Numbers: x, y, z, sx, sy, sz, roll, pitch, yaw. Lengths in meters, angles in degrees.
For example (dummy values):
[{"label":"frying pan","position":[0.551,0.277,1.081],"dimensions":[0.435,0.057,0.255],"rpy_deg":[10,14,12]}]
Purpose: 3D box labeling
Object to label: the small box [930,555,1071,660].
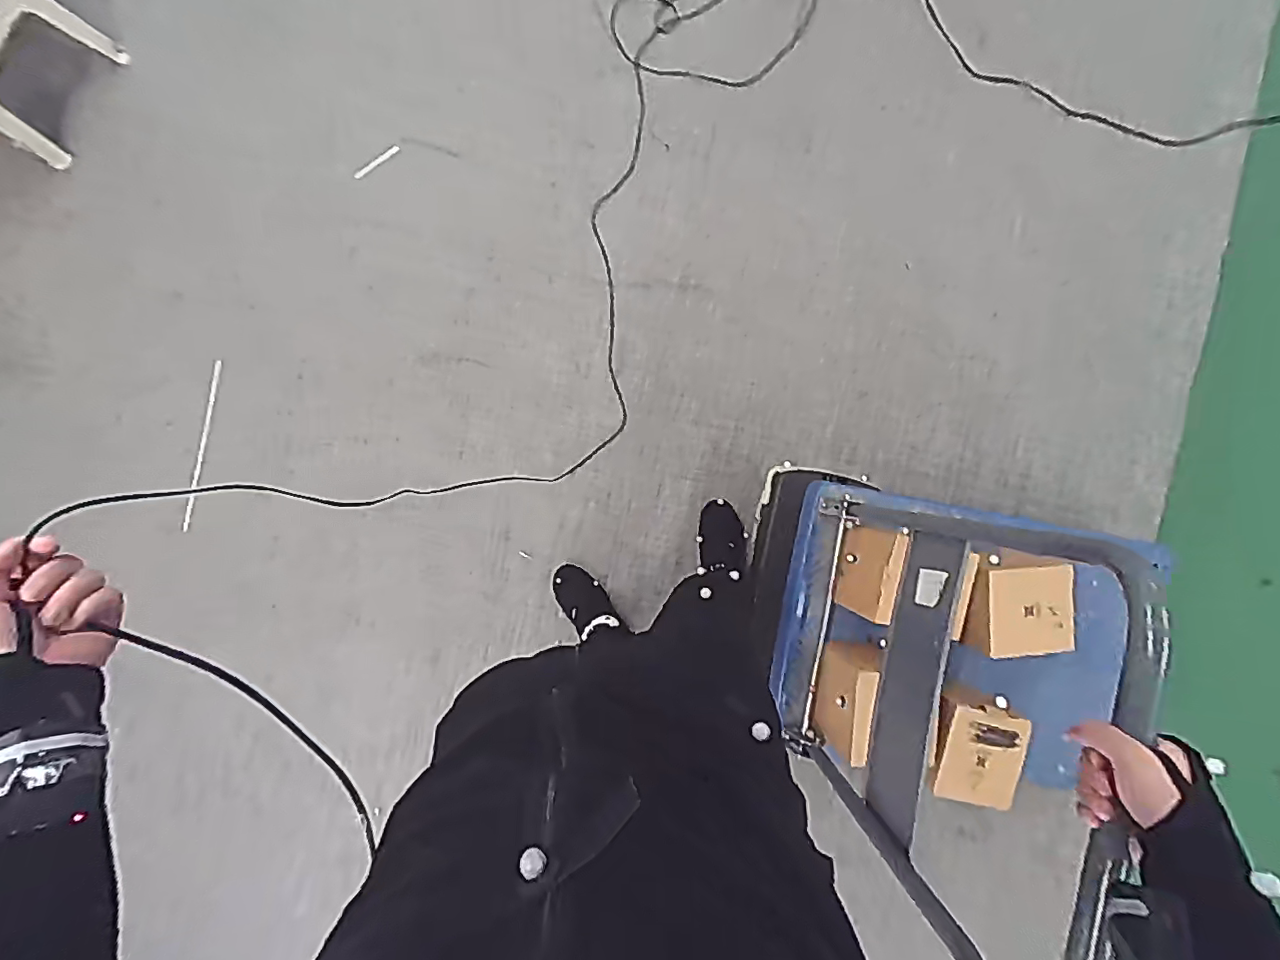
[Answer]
[{"label":"small box","position":[0.706,0.247,1.077],"dimensions":[0.179,0.176,0.168],"rpy_deg":[-2,92,-7]}]
